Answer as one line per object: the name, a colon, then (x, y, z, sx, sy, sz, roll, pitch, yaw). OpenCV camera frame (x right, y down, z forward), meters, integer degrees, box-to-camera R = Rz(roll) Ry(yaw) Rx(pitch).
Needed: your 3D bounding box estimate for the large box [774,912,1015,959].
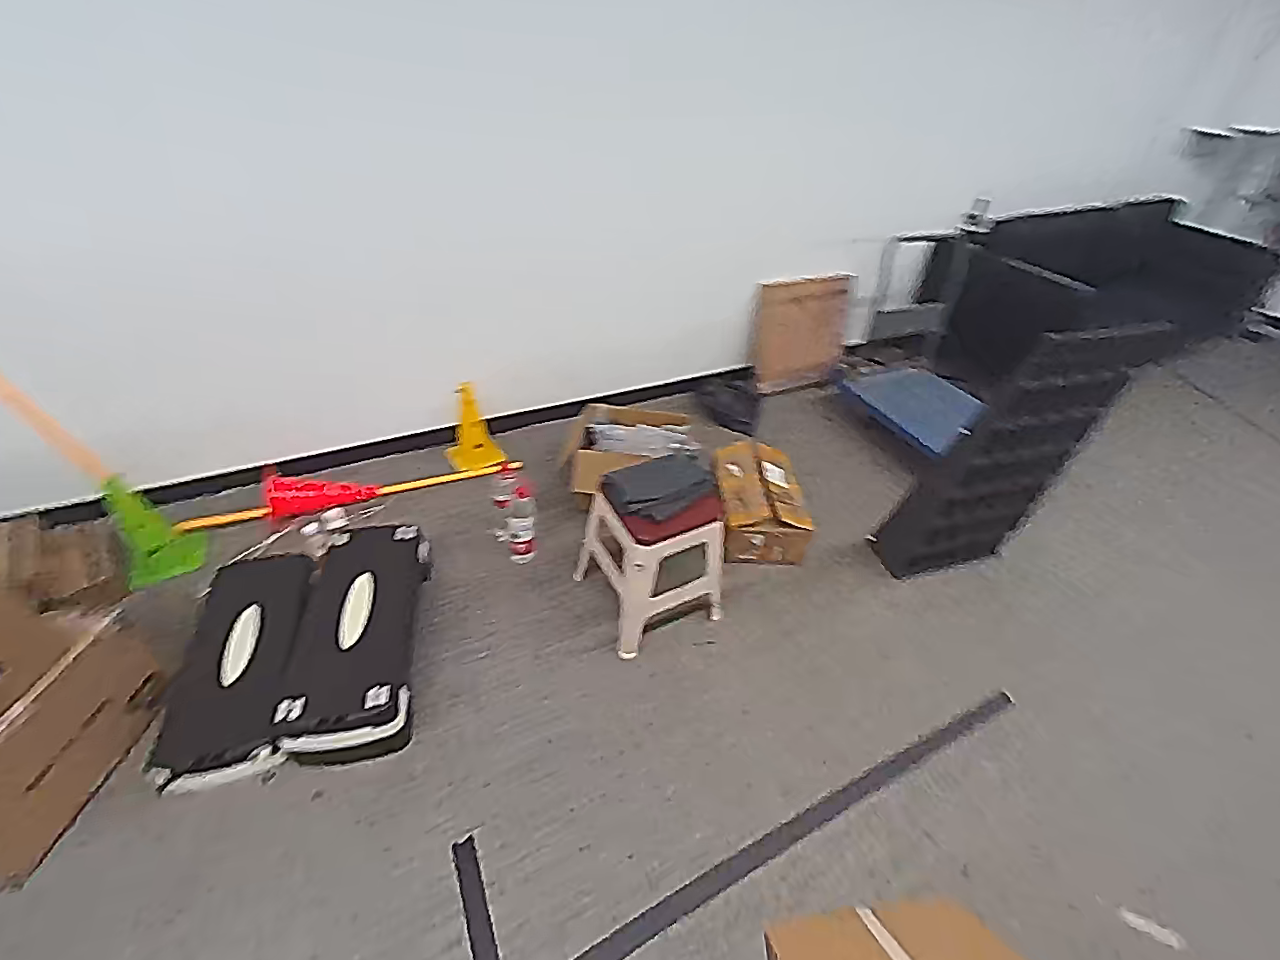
large box: (0.375, 0.793, 0.616, 0.320, 0.408, 0.320, -4, 80, -4)
